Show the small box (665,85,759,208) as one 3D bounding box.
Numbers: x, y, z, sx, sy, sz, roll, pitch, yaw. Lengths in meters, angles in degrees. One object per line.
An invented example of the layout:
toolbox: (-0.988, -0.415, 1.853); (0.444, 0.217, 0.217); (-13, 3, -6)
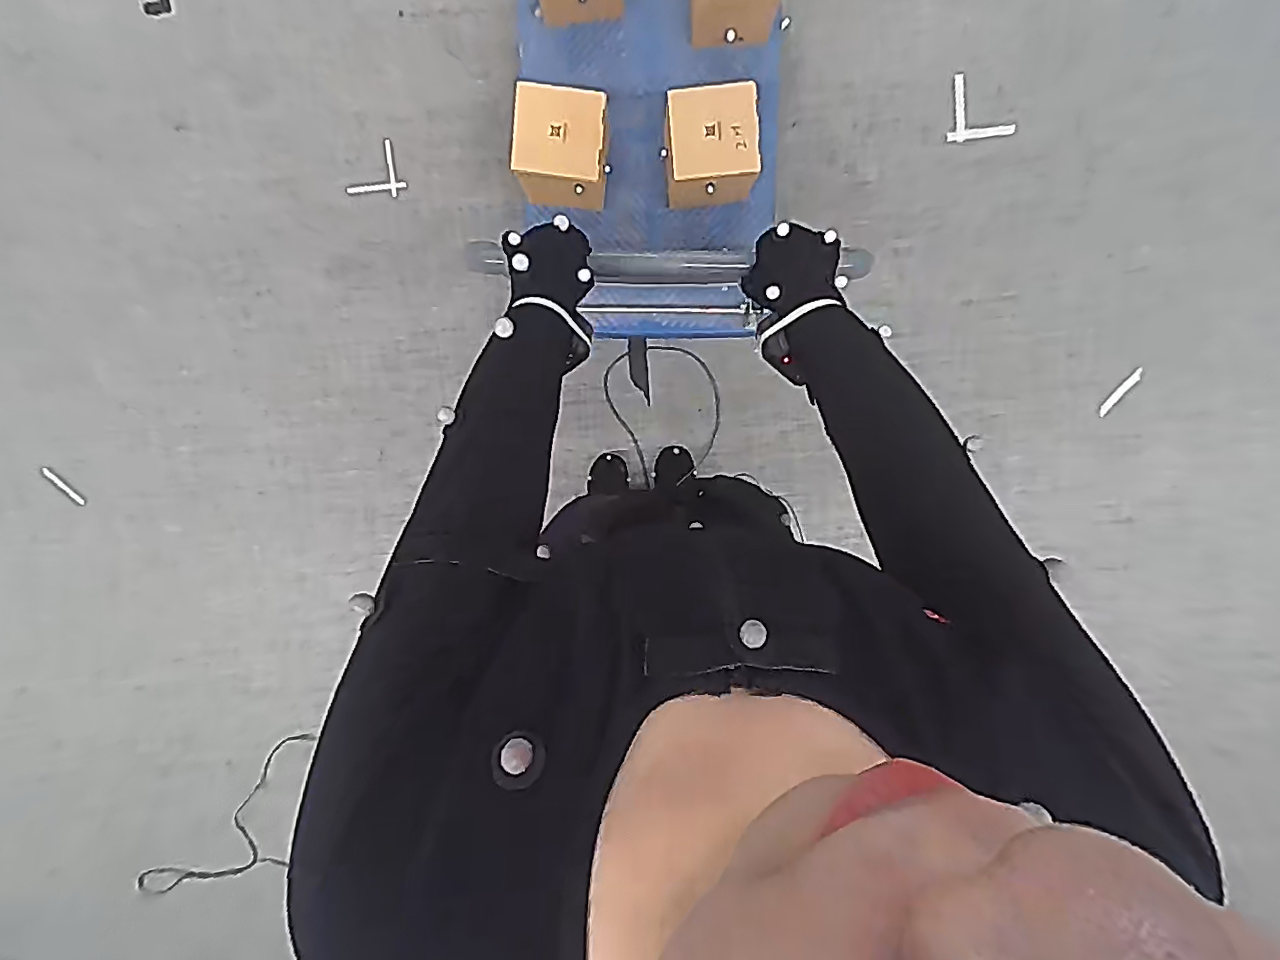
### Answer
small box: (0.145, -0.695, 1.146); (0.179, 0.176, 0.168); (-5, 98, 0)

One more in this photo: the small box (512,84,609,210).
small box: (-0.161, -0.693, 1.145); (0.179, 0.176, 0.168); (6, 97, -3)

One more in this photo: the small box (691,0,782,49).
small box: (0.192, -1.026, 1.099); (0.168, 0.176, 0.179); (-3, 99, 0)
